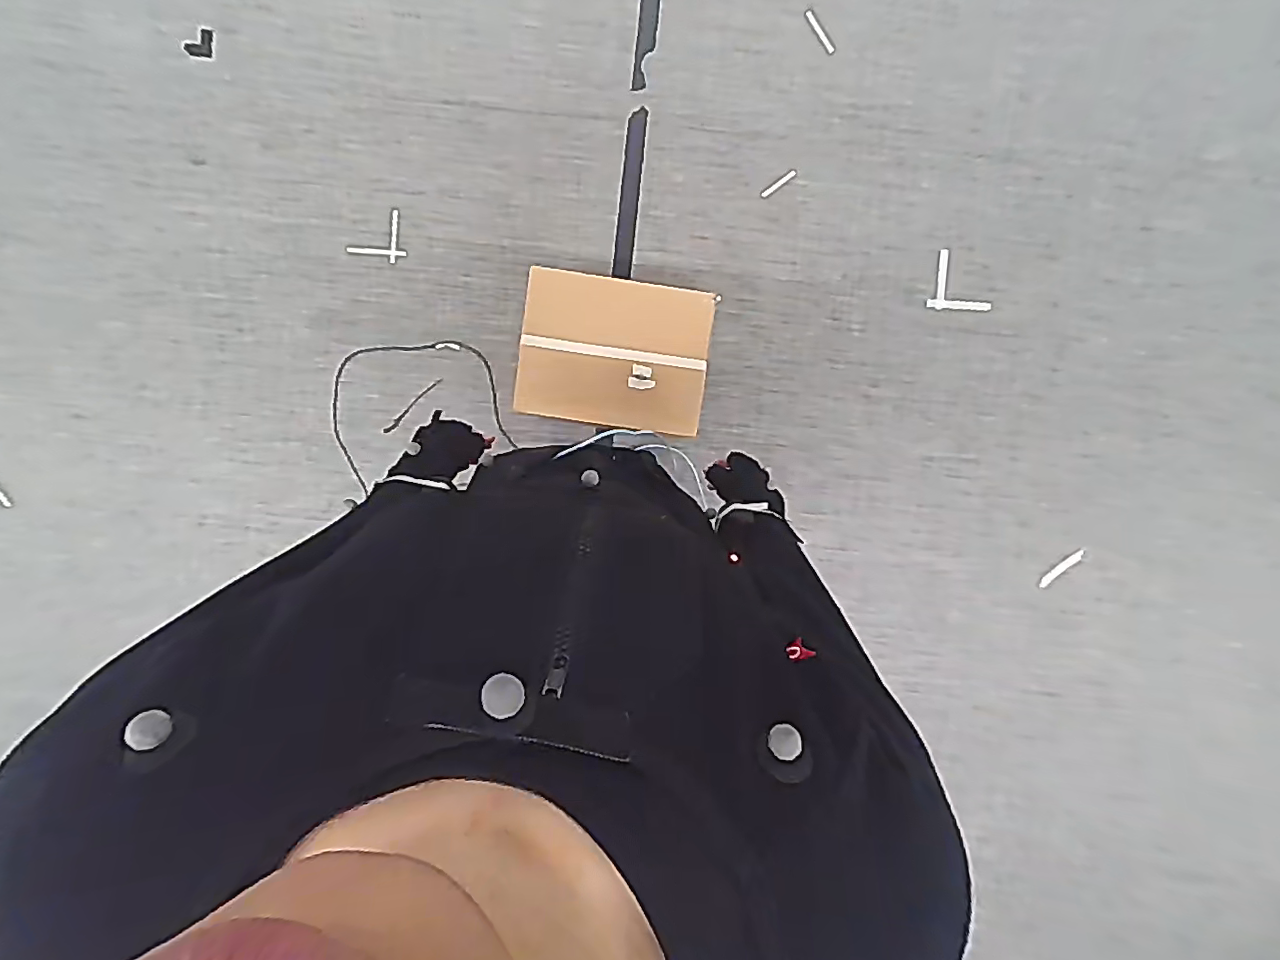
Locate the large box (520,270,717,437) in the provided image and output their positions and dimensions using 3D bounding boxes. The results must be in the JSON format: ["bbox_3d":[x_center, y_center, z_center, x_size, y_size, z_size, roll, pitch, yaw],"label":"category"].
[{"bbox_3d":[-0.055,-0.285,1.323,0.408,0.320,0.320,8,94,-3],"label":"large box"}]
